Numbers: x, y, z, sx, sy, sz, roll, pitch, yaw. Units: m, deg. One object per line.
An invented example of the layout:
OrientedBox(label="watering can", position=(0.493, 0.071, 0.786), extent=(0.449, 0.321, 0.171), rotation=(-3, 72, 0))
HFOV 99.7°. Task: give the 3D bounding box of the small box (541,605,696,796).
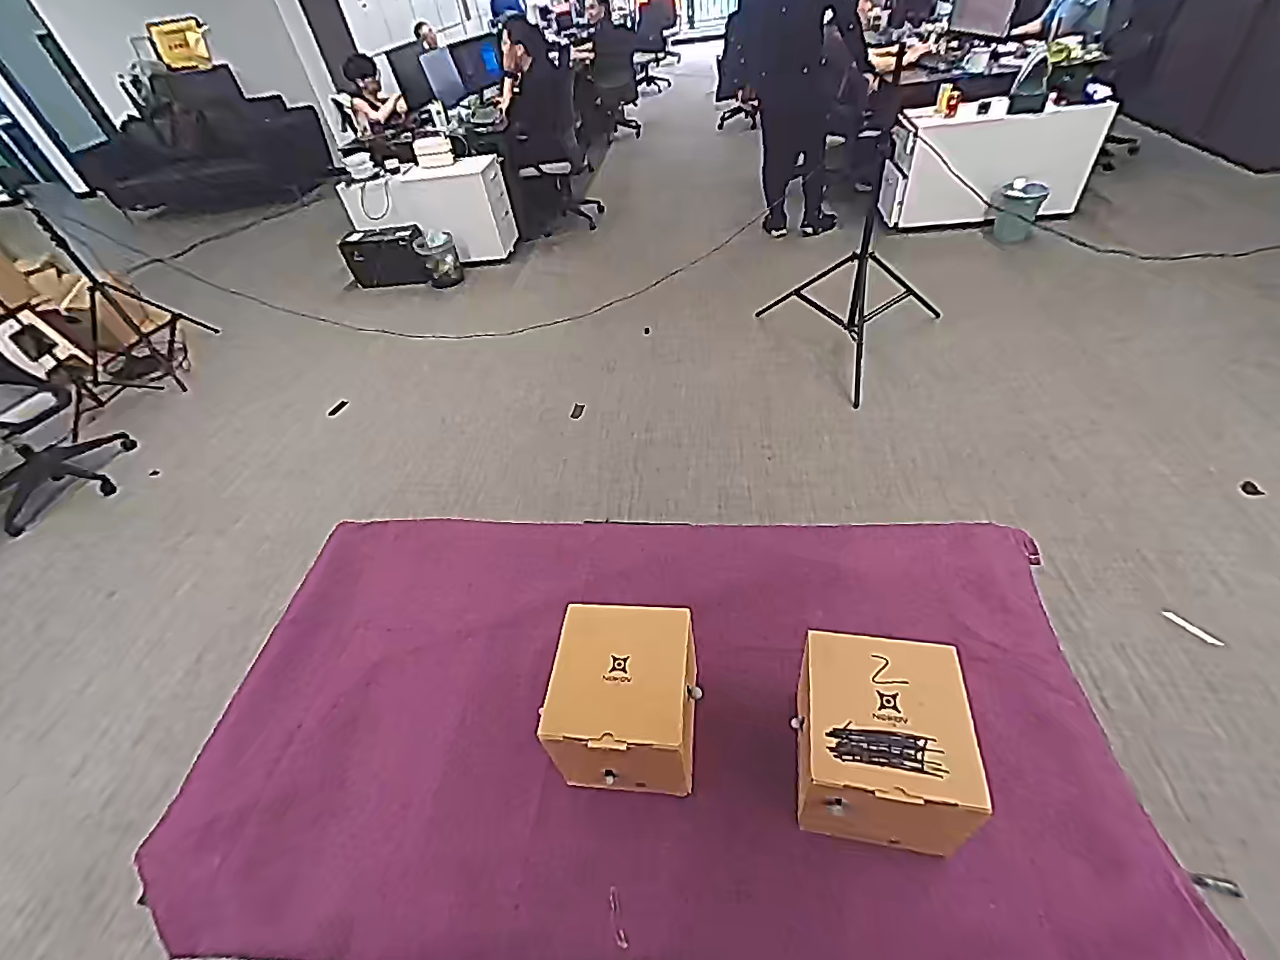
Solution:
OrientedBox(label="small box", position=(-0.014, 0.287, 0.710), extent=(0.168, 0.176, 0.179), rotation=(0, 45, 9))
